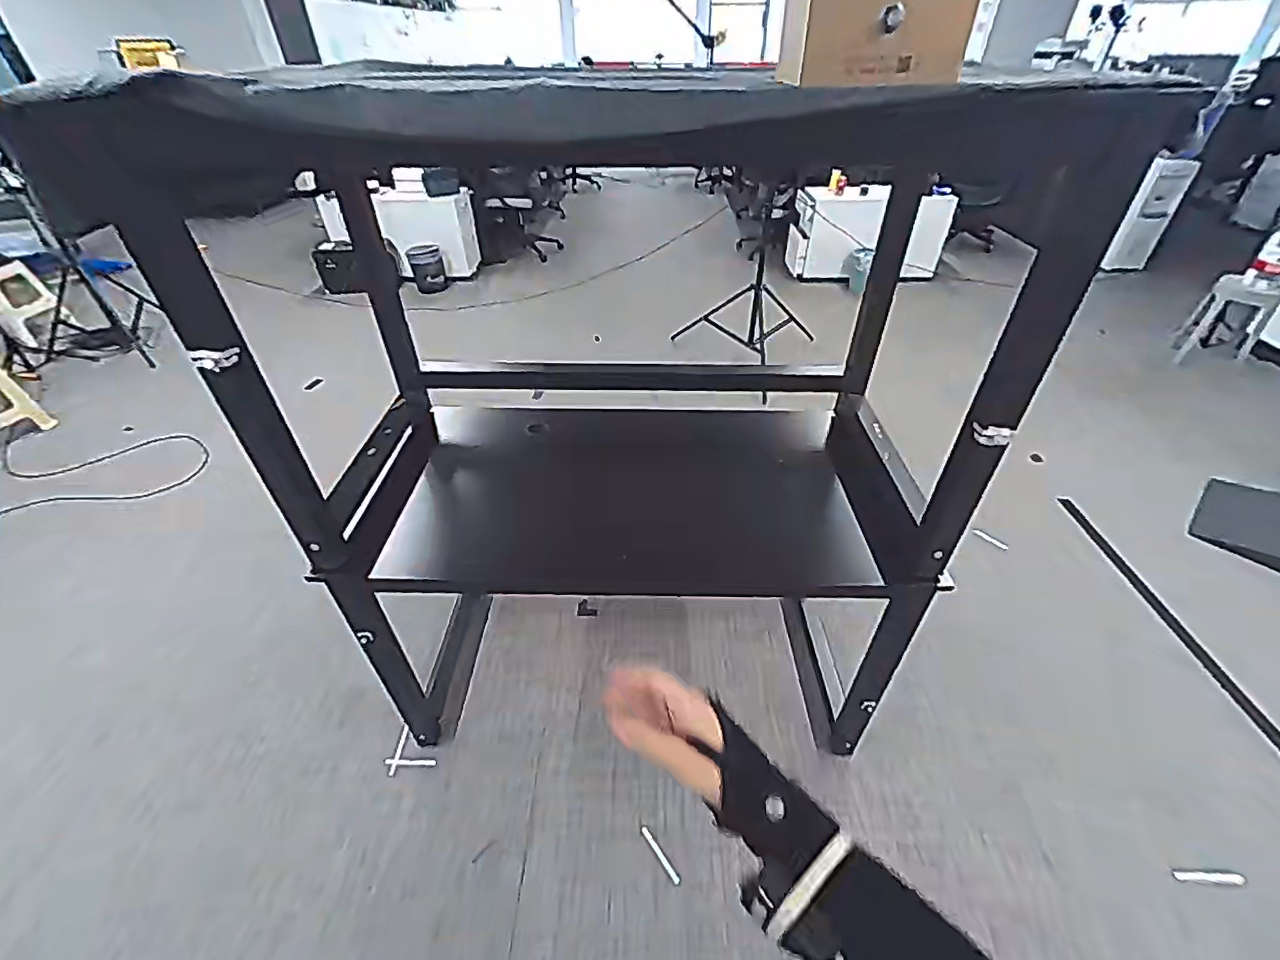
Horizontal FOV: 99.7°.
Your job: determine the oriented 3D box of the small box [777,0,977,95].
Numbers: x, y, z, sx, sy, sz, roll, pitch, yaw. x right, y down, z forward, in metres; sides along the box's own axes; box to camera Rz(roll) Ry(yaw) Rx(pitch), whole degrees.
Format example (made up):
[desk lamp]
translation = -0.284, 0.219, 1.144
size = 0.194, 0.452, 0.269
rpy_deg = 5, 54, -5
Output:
[small box]
translation = 0.252, -0.529, 0.590
size = 0.168, 0.176, 0.179
rpy_deg = 0, 38, 3
